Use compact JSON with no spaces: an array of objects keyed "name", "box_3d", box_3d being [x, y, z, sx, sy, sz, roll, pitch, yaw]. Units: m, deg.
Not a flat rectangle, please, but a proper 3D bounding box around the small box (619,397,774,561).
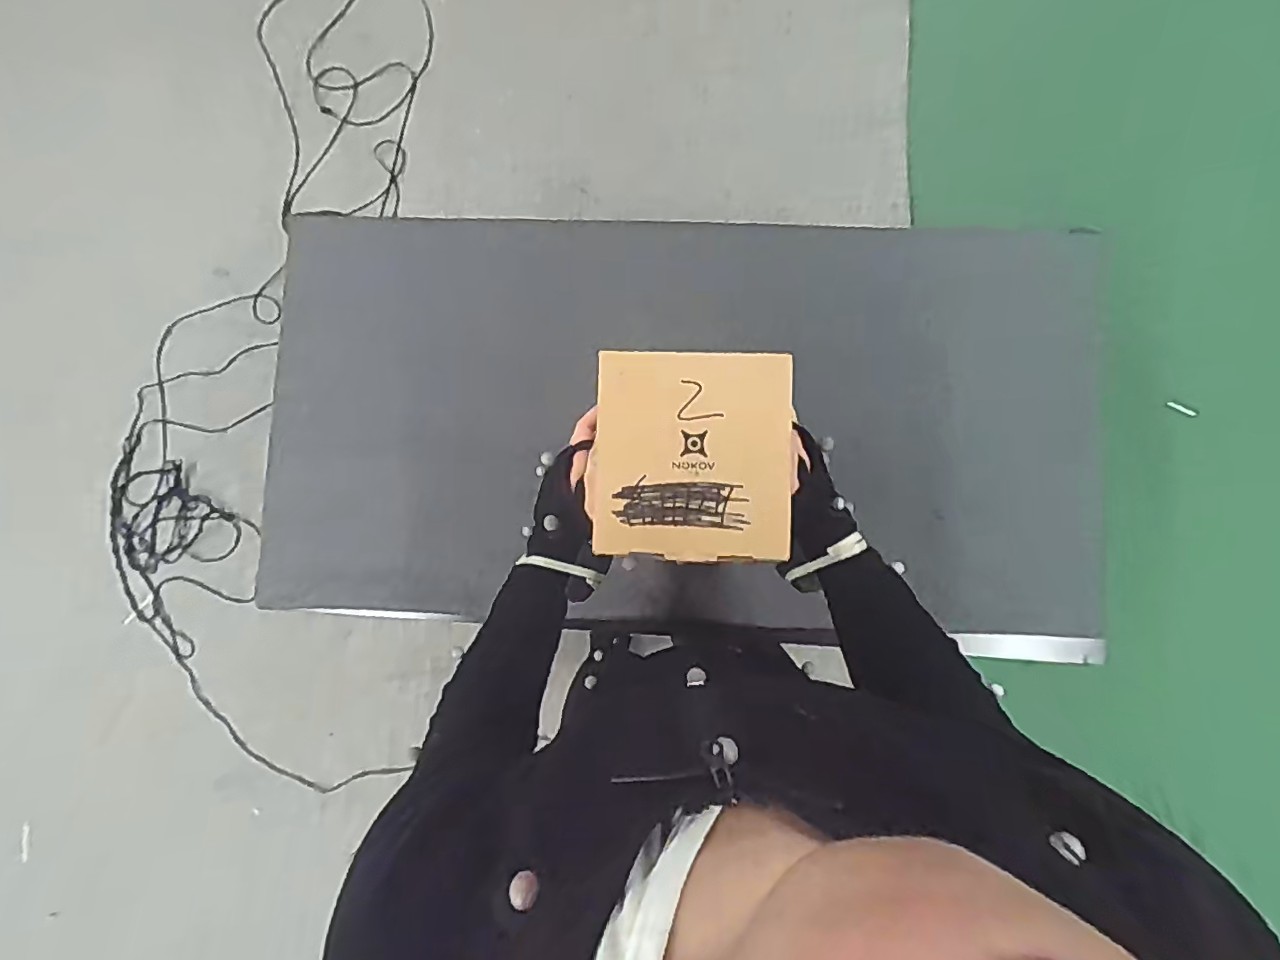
[{"name":"small box","box_3d":[0.067,0.002,0.688,0.168,0.176,0.179,4,87,3]}]
